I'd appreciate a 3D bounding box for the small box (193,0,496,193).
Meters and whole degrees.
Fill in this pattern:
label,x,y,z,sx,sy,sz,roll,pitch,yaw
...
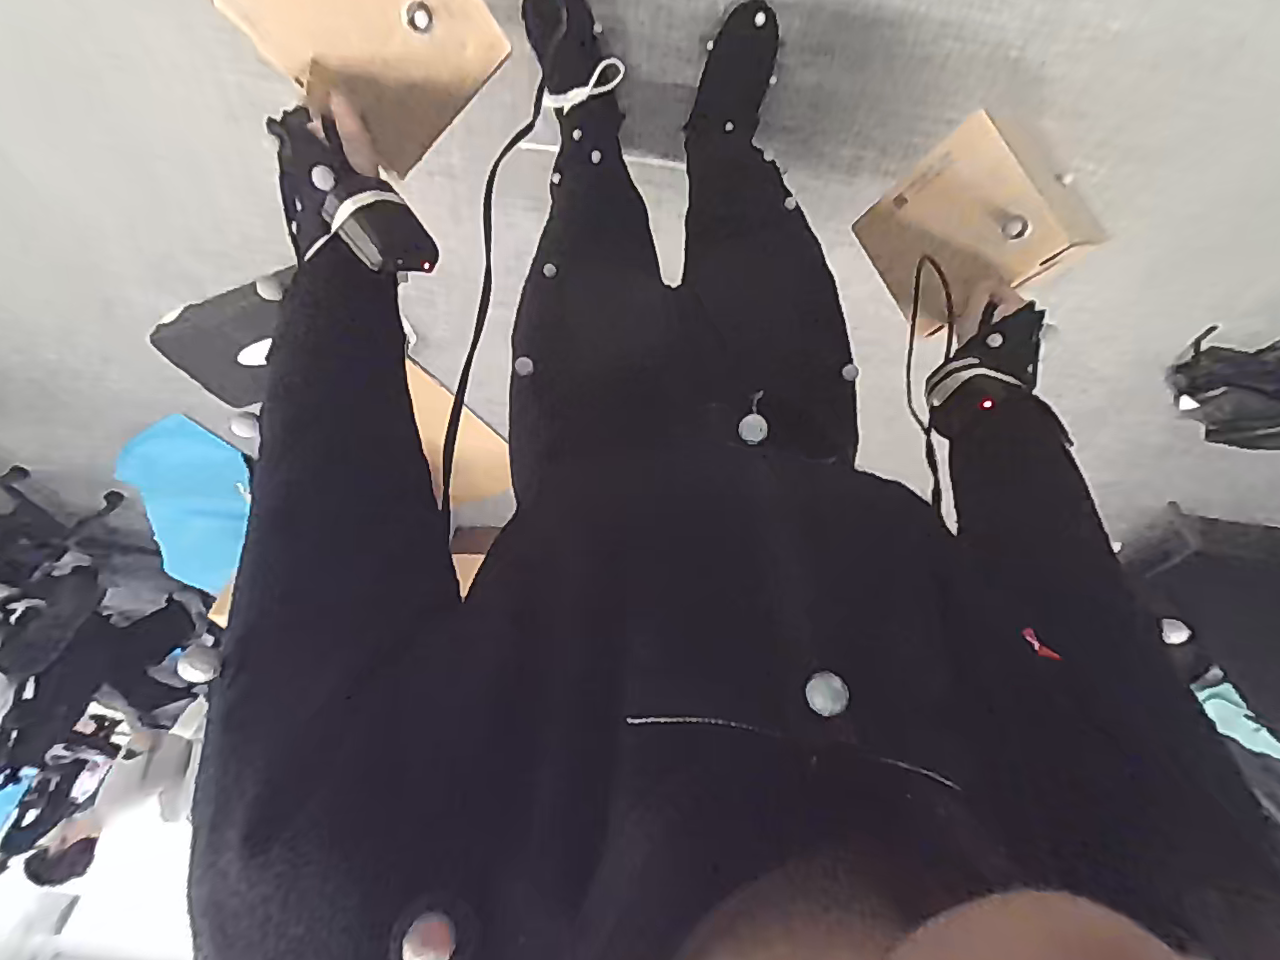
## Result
label,x,y,z,sx,sy,sz,roll,pitch,yaw
small box,-0.264,-0.412,0.497,0.176,0.179,0.168,-48,143,5
